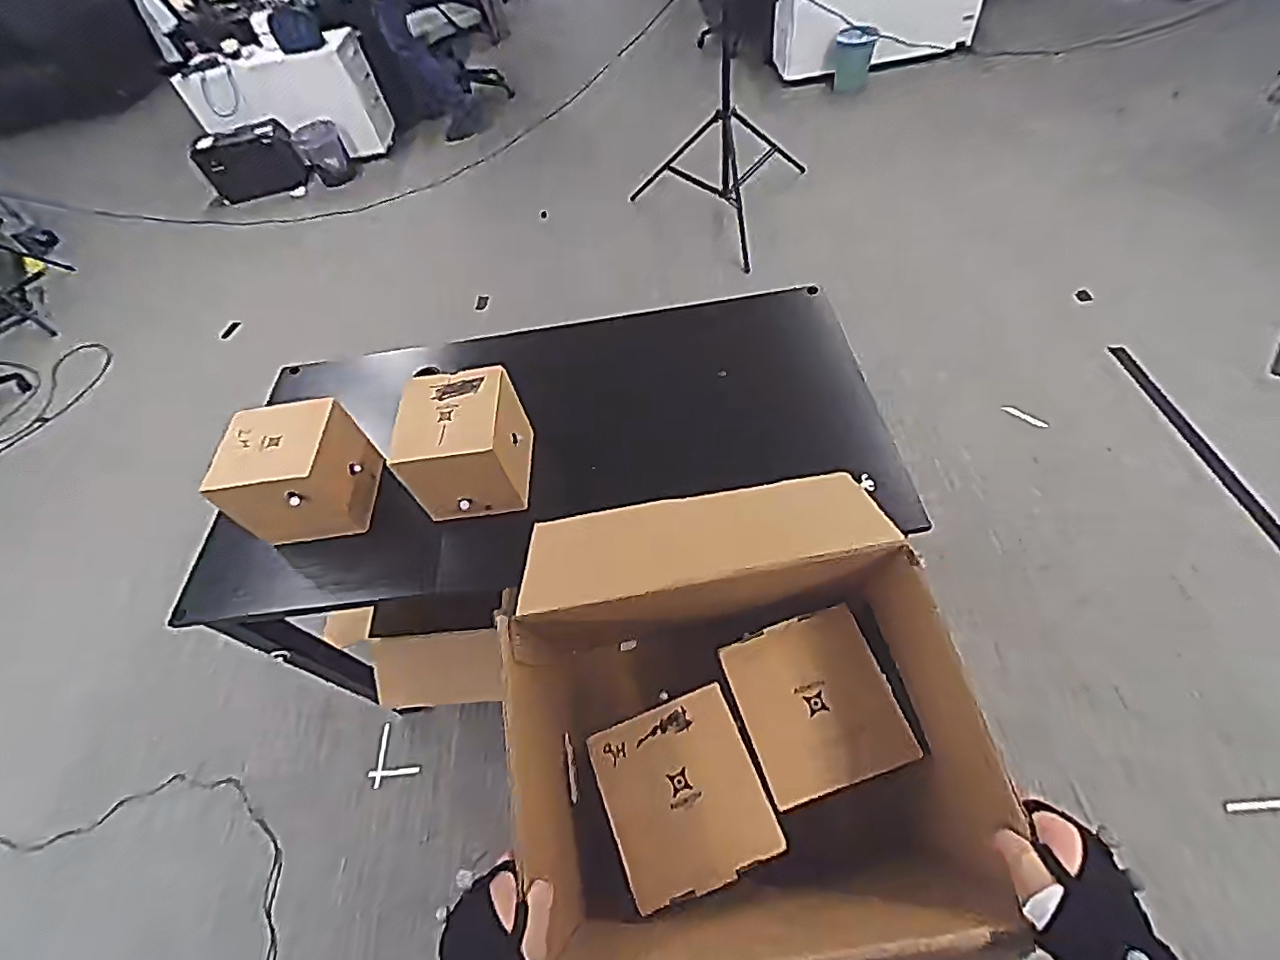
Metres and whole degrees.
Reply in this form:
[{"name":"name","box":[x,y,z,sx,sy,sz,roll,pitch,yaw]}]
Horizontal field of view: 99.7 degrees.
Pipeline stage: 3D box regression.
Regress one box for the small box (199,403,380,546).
[{"name":"small box","box":[-0.571,-0.004,0.914,0.179,0.176,0.168,-8,53,3]}]

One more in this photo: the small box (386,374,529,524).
[{"name":"small box","box":[-0.290,-0.049,0.904,0.168,0.176,0.179,-7,54,4]}]
